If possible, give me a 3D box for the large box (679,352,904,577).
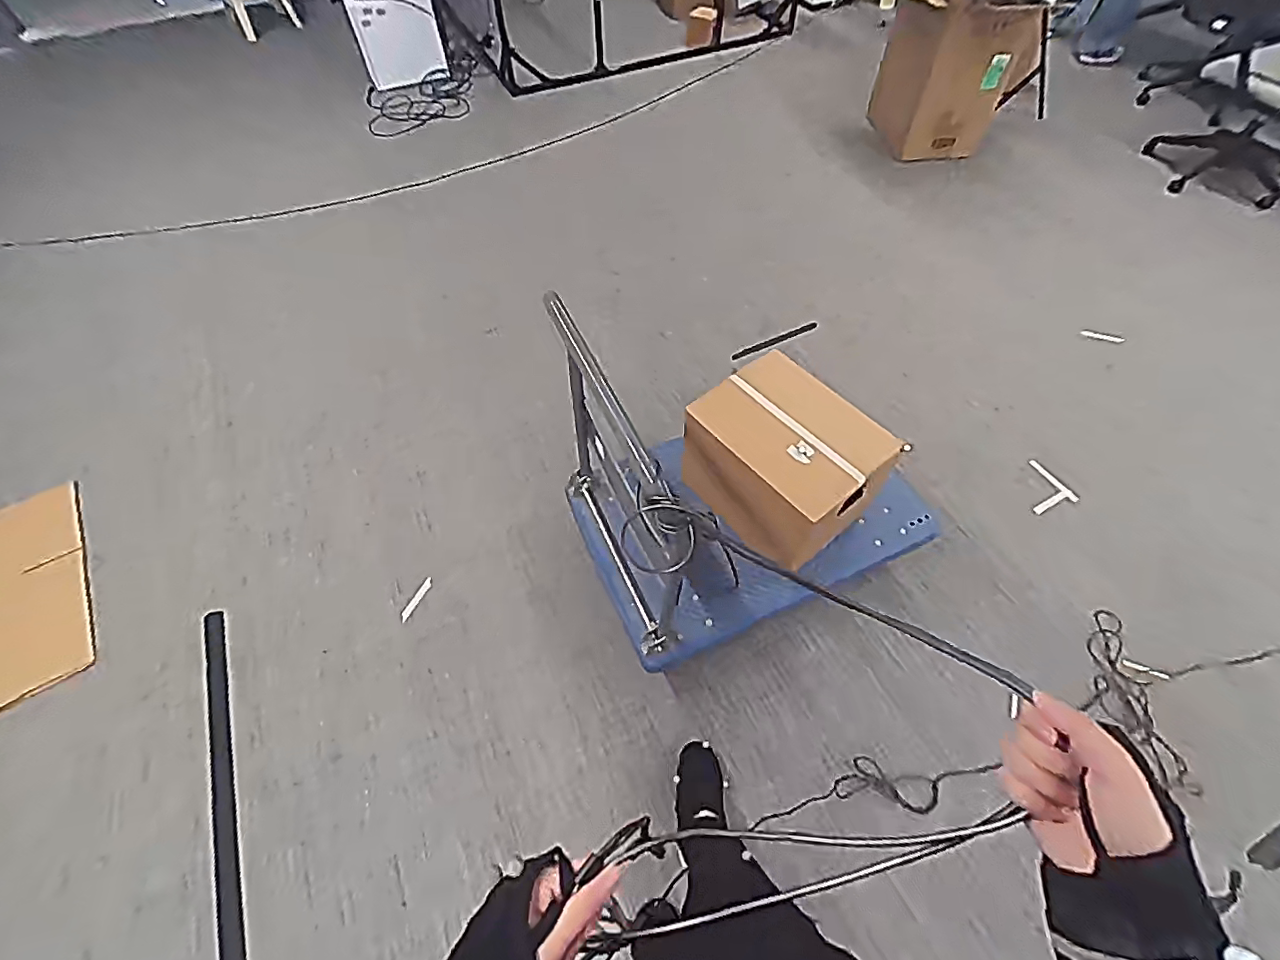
[{"bbox_3d":[0.347,-0.040,1.358,0.320,0.320,0.408,-35,64,-19],"label":"large box"}]
